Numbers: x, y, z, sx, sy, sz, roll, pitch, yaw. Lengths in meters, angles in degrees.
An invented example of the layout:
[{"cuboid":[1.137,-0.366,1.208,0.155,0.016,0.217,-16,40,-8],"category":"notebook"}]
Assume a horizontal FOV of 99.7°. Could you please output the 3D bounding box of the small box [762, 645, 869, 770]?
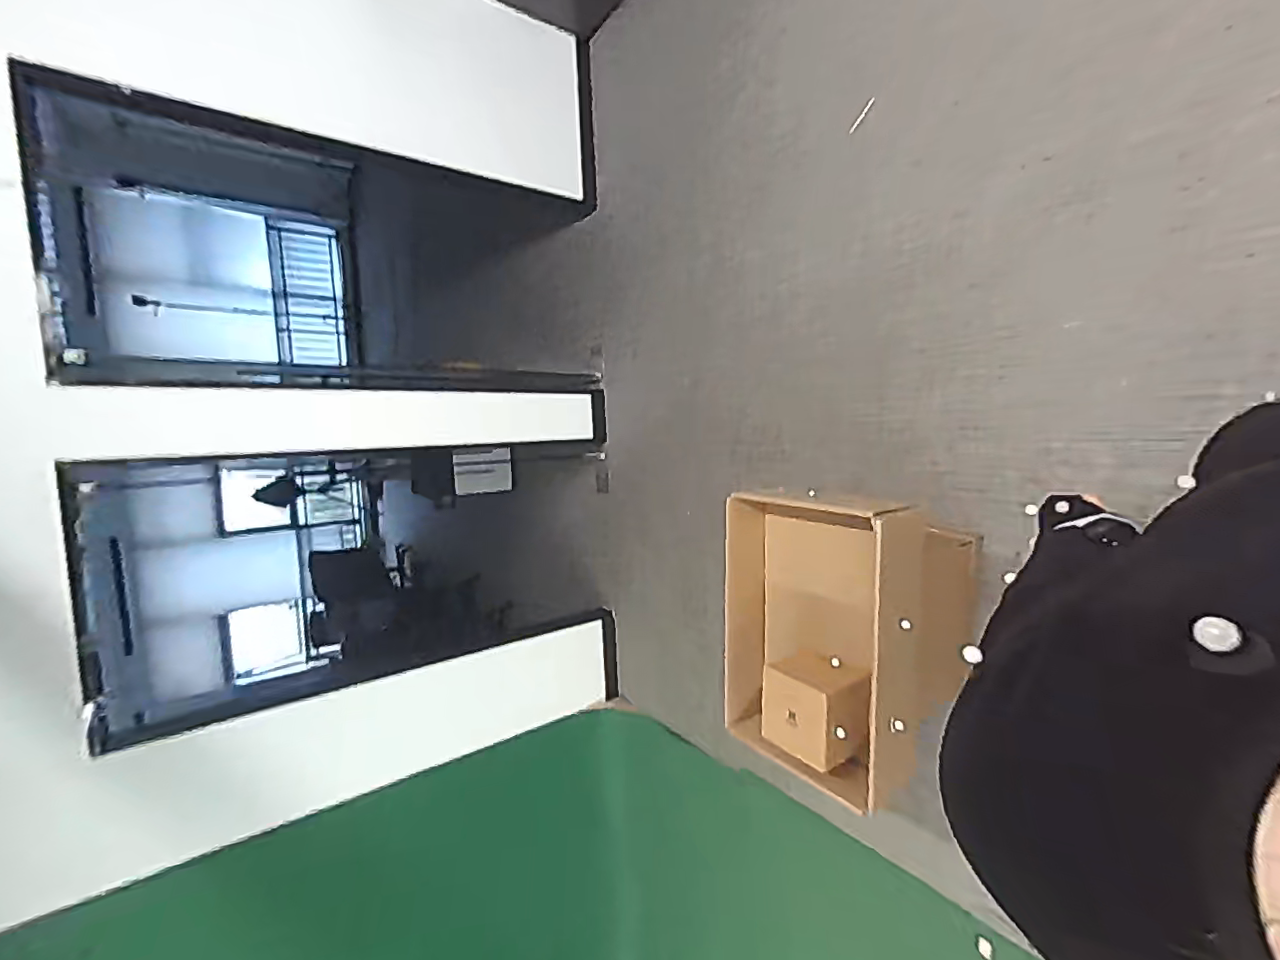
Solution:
[{"cuboid":[0.392,0.497,1.208,0.168,0.176,0.179,10,103,53],"category":"small box"}]
